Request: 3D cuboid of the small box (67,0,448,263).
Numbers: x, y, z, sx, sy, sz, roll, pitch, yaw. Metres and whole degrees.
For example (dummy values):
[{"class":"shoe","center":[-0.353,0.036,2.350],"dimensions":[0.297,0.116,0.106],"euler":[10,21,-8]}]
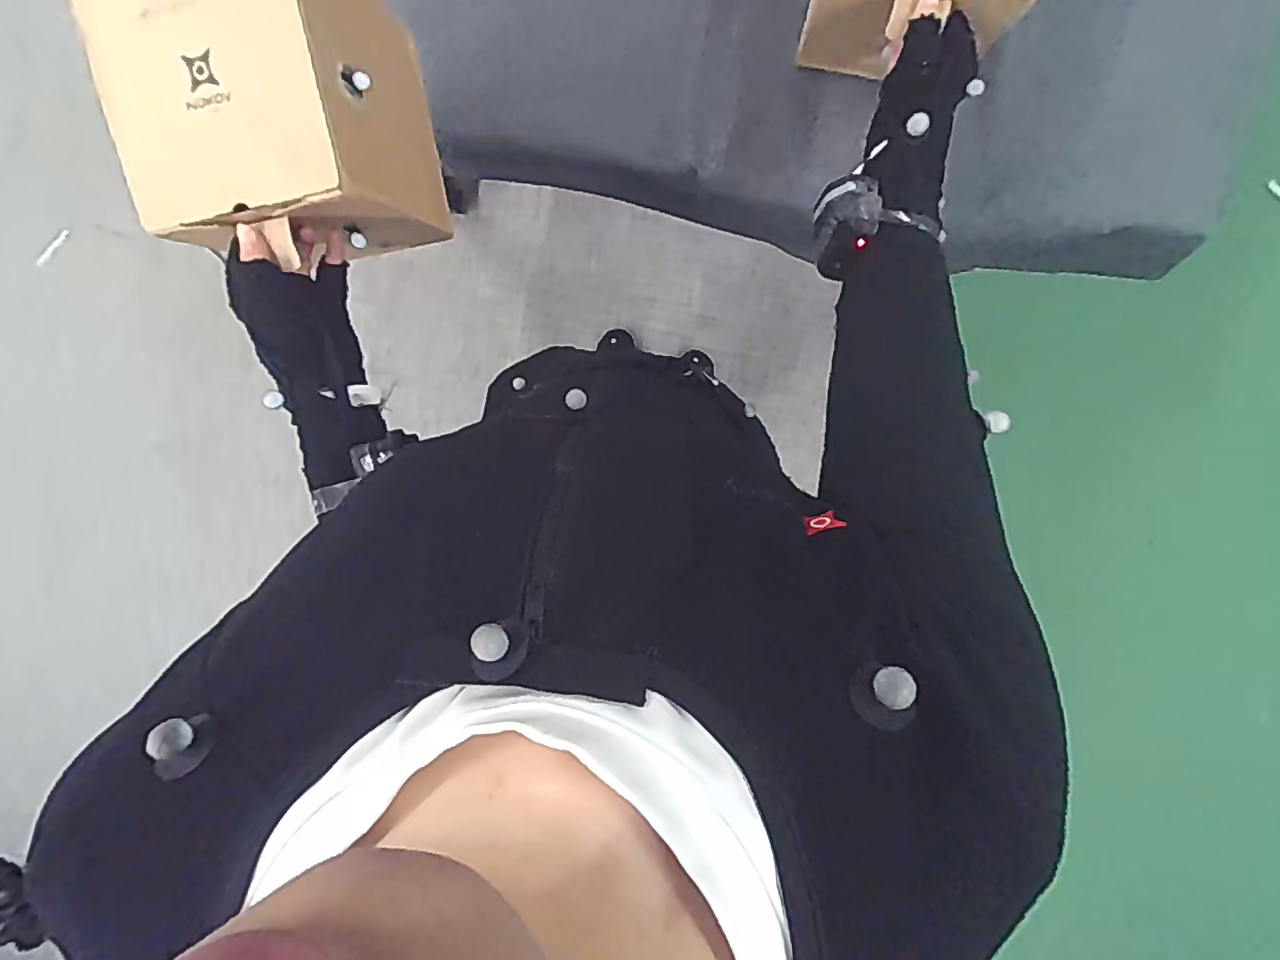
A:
[{"class":"small box","center":[-0.281,-0.285,0.438],"dimensions":[0.168,0.176,0.179],"euler":[-8,101,9]}]
